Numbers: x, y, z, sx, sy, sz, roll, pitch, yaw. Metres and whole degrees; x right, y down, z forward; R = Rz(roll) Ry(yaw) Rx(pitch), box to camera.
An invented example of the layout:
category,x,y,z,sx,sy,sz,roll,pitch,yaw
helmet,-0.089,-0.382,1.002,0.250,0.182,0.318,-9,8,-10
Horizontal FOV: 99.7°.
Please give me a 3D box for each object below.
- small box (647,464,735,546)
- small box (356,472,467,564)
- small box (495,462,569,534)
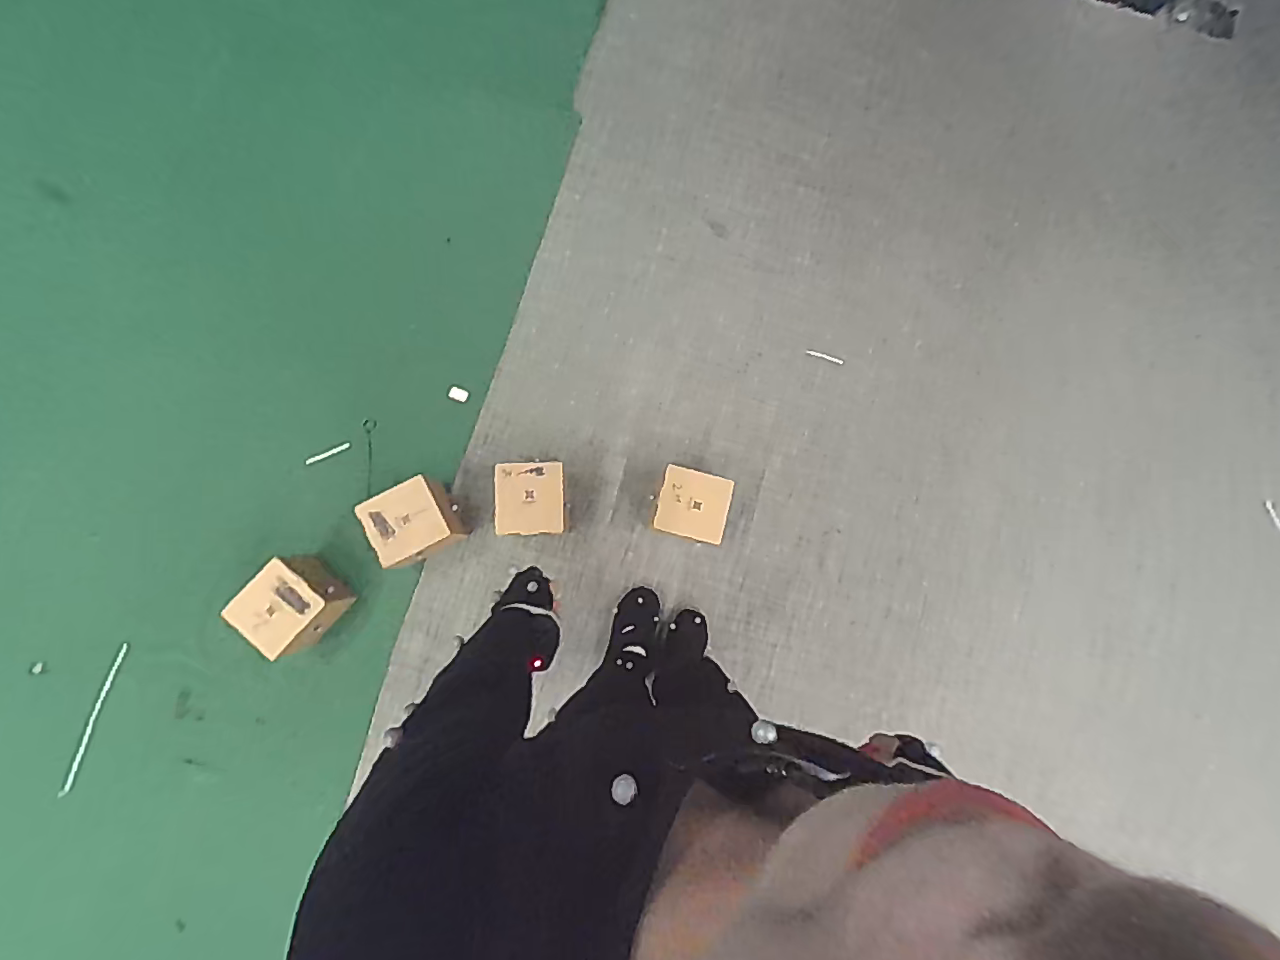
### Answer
category,x,y,z,sx,sy,sz,roll,pitch,yaw
small box,0.127,0.067,1.401,0.179,0.176,0.168,15,83,-2
small box,-0.565,0.101,1.359,0.179,0.176,0.168,-27,86,-7
small box,-0.271,0.049,1.382,0.168,0.176,0.179,-1,84,-3
